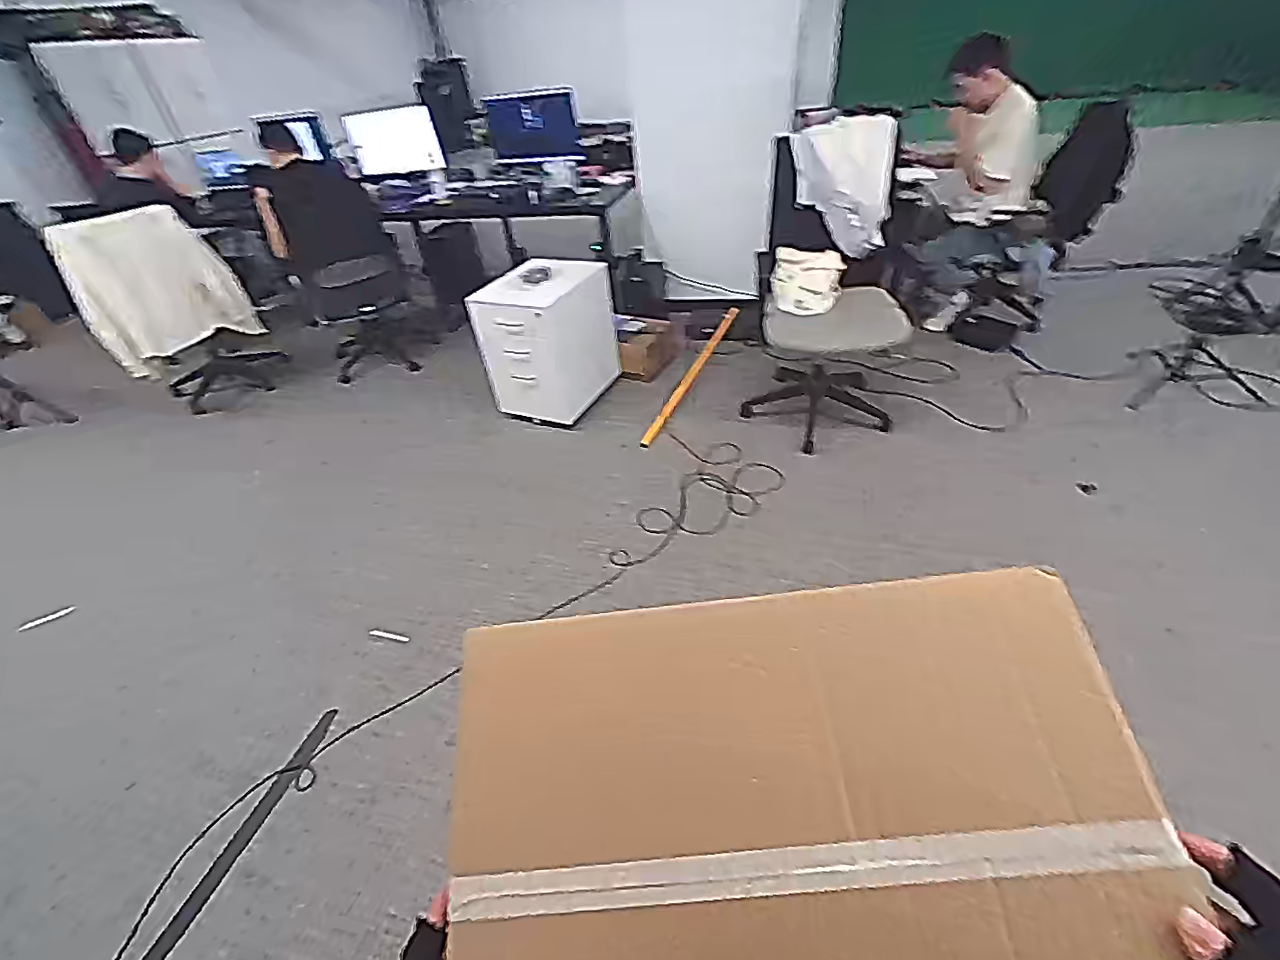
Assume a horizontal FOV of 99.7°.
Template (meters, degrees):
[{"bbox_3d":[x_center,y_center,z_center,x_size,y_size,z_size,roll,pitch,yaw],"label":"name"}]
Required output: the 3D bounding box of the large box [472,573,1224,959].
[{"bbox_3d":[0.113,0.290,0.444,0.408,0.320,0.320,-7,64,4],"label":"large box"}]
